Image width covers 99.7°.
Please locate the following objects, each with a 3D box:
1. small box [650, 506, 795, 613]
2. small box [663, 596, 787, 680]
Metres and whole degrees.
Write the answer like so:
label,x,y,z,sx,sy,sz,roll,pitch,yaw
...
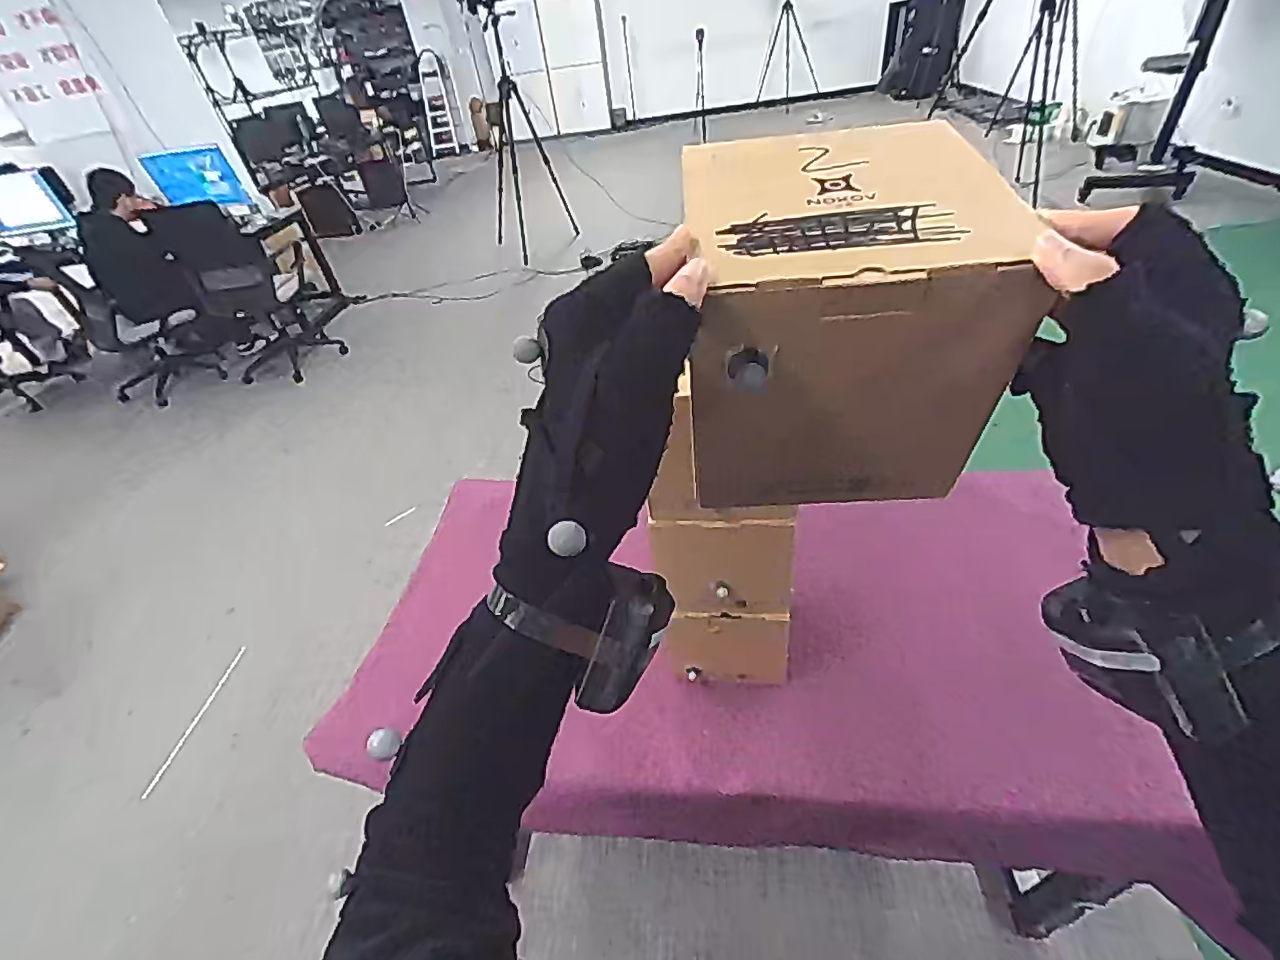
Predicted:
label,x,y,z,sx,sy,sz,roll,pitch,yaw
small box,0.111,0.054,0.719,0.168,0.176,0.179,-1,41,10
small box,0.132,0.183,0.819,0.168,0.176,0.179,-1,41,10
